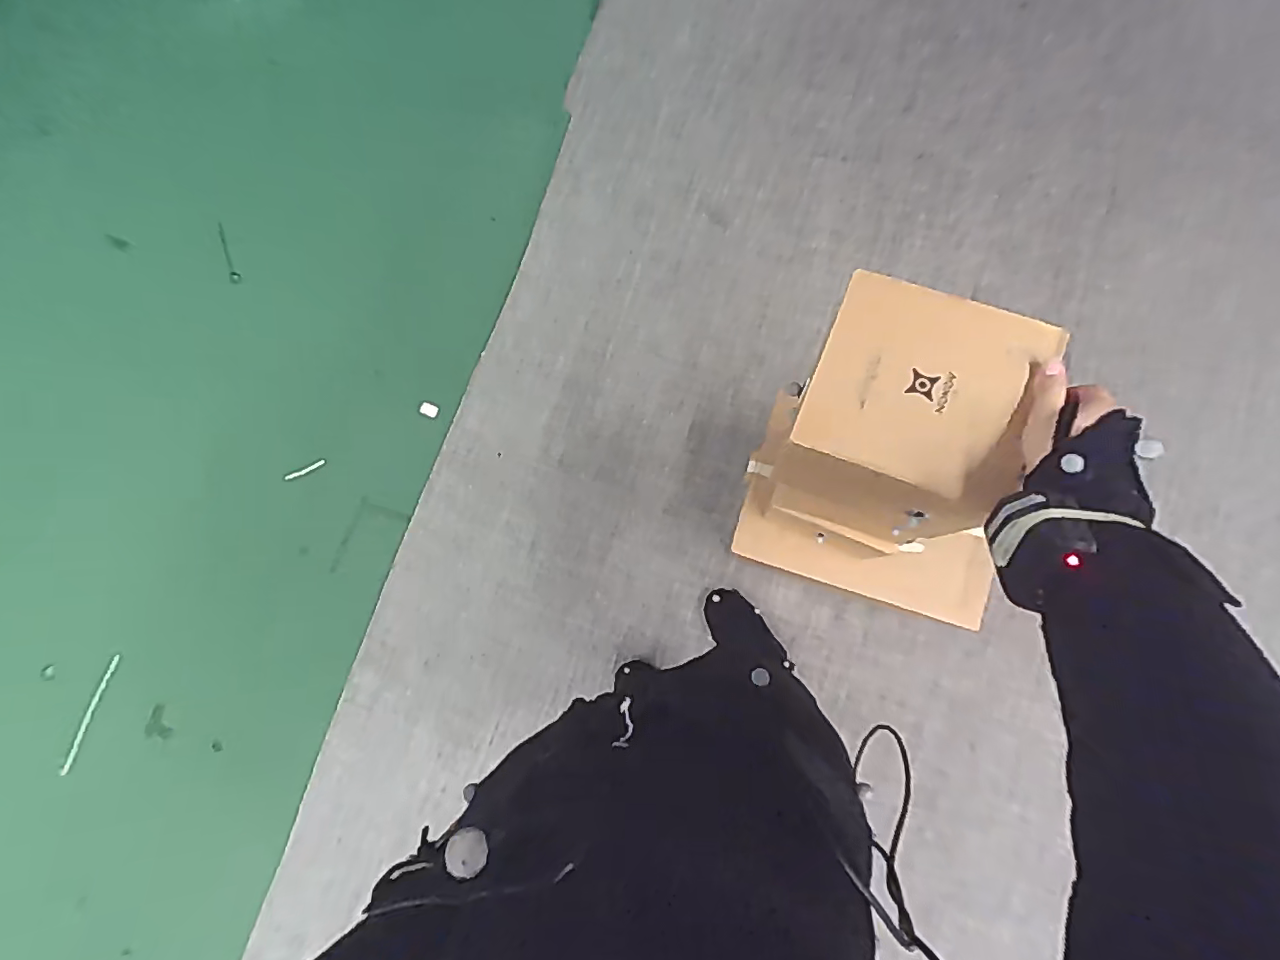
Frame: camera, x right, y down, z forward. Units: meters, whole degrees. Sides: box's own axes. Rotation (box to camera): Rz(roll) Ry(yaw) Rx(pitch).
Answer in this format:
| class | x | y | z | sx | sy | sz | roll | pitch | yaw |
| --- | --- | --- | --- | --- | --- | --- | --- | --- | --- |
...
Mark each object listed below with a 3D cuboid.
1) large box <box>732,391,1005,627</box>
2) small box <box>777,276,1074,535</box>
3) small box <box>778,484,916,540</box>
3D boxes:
| class | x | y | z | sx | sy | sz | roll | pitch | yaw |
| --- | --- | --- | --- | --- | --- | --- | --- | --- | --- |
| large box | 0.414 | 0.062 | 1.048 | 0.408 | 0.320 | 0.320 | 17 | 84 | 11 |
| small box | 0.245 | -0.055 | 0.511 | 0.179 | 0.176 | 0.168 | 21 | 82 | 13 |
| small box | 0.280 | -0.030 | 0.667 | 0.179 | 0.176 | 0.168 | 18 | 82 | 11 |
